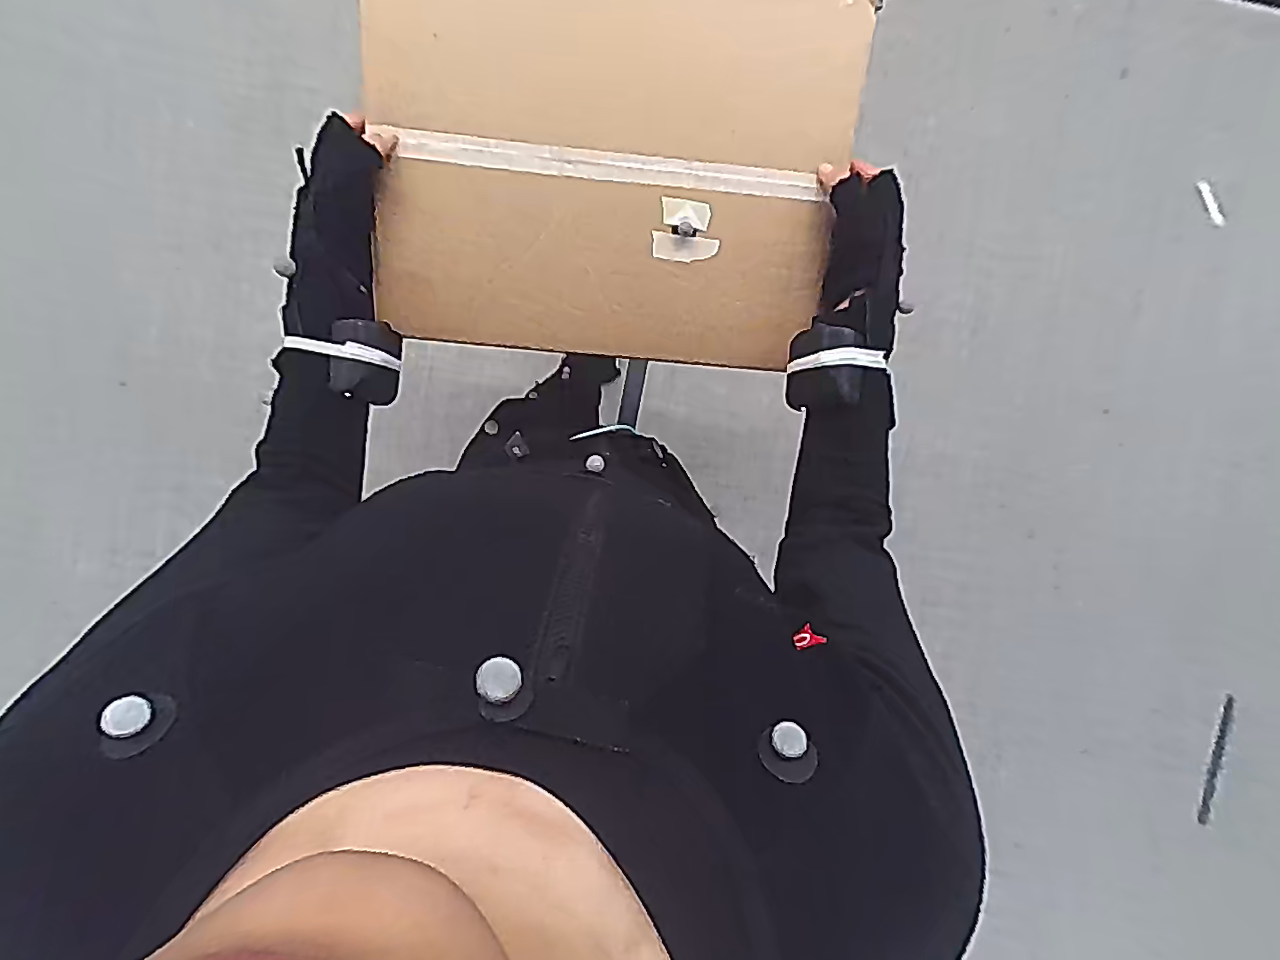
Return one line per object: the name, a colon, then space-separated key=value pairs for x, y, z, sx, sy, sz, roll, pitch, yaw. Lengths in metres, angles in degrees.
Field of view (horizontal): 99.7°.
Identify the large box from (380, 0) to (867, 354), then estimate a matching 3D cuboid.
large box: x=-0.028 y=-0.321 z=0.616 sx=0.408 sy=0.320 sz=0.320 roll=4 pitch=107 yaw=-5
